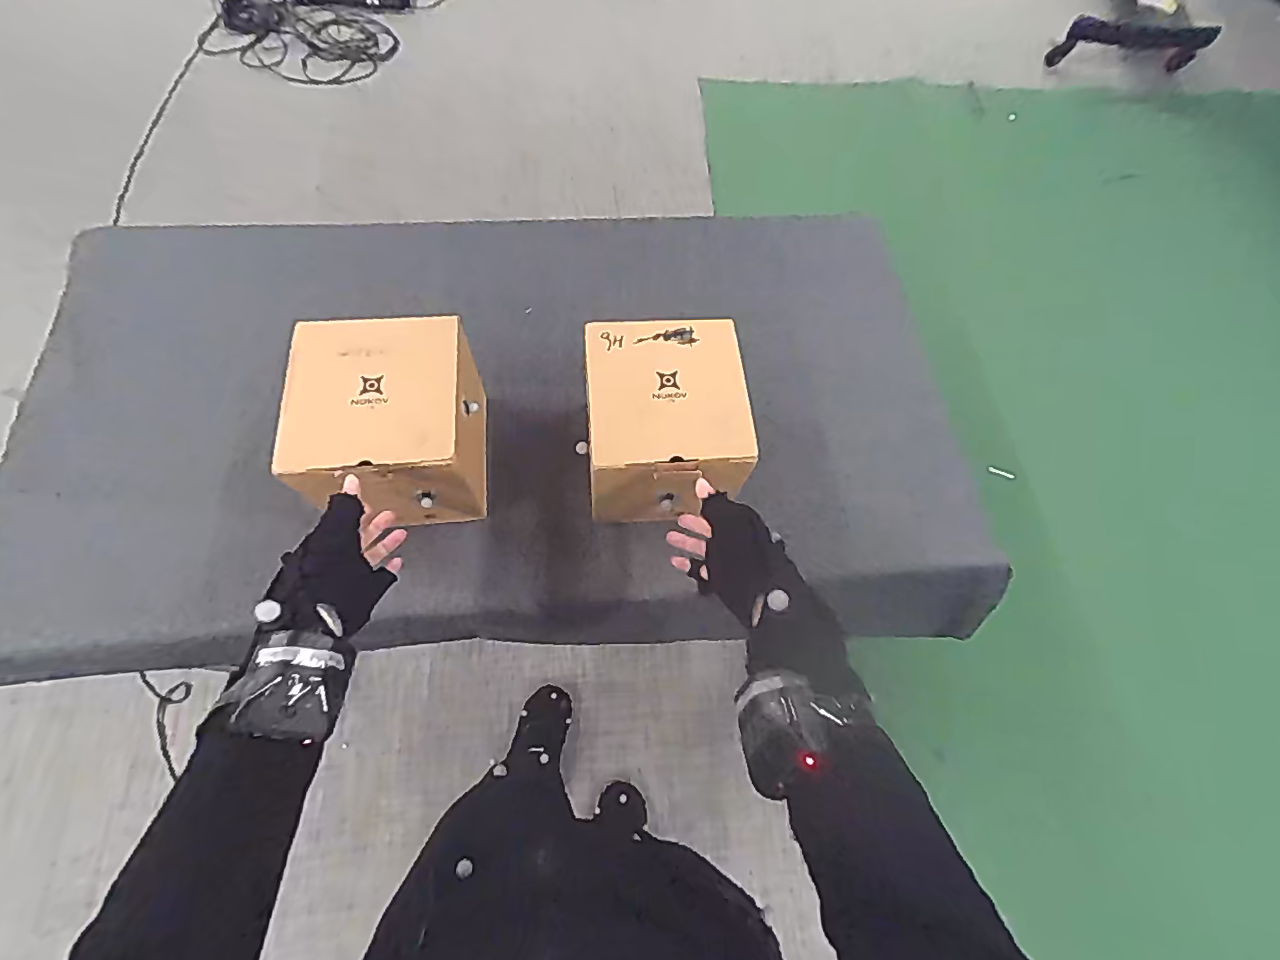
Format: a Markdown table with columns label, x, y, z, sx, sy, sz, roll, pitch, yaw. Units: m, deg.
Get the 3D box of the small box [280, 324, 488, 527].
| label | x | y | z | sx | sy | sz | roll | pitch | yaw |
| --- | --- | --- | --- | --- | --- | --- | --- | --- | --- |
| small box | -0.270 | -0.052 | 0.617 | 0.168 | 0.176 | 0.179 | -4 | 65 | -8 |
